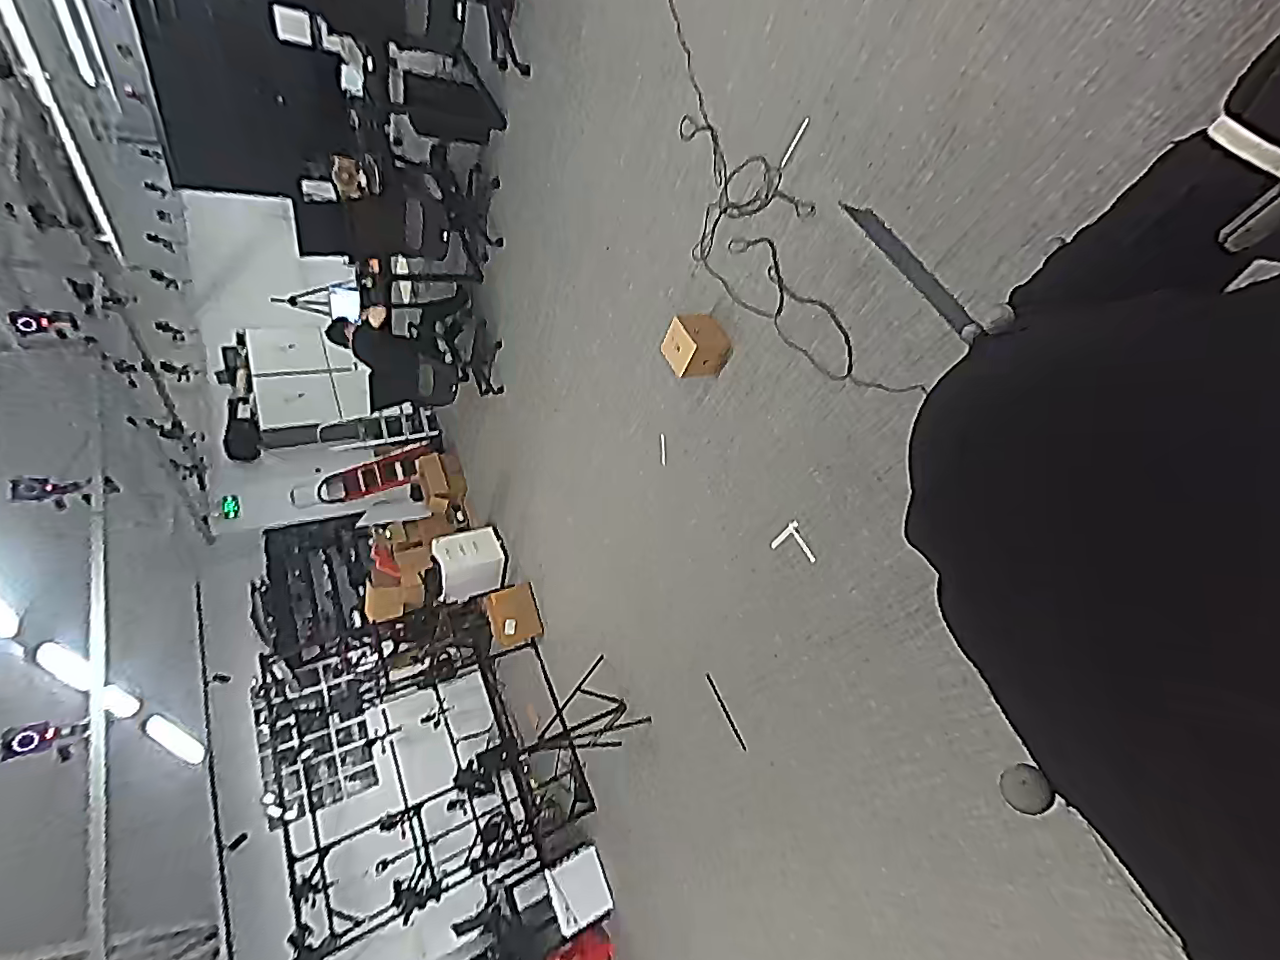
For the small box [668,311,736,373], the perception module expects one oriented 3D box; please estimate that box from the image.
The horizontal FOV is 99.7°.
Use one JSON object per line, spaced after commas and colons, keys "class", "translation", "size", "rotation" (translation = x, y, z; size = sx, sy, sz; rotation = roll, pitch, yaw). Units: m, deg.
{"class": "small box", "translation": [0.240, -0.539, 2.088], "size": [0.179, 0.176, 0.168], "rotation": [62, 147, 25]}
